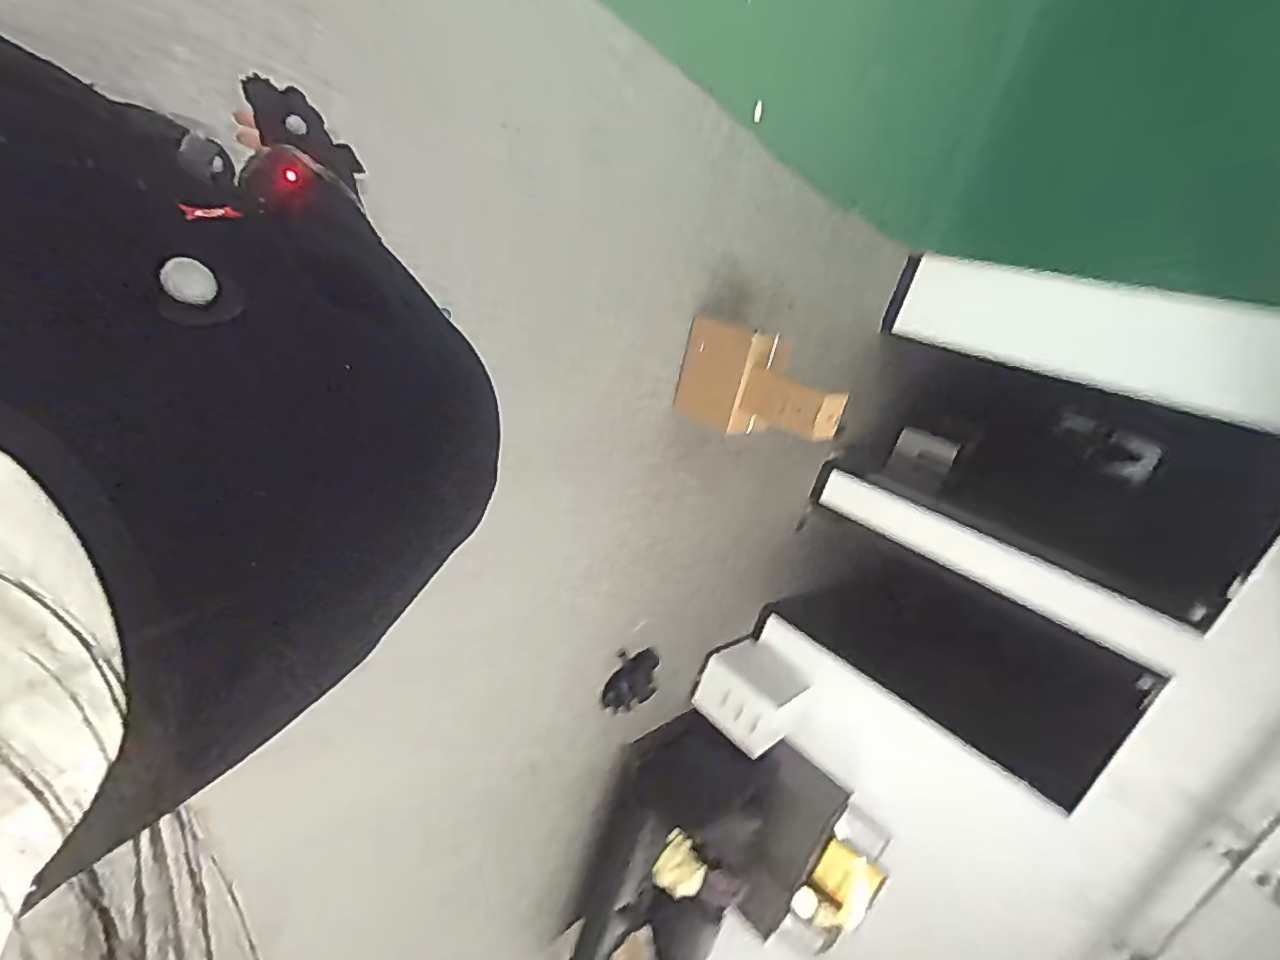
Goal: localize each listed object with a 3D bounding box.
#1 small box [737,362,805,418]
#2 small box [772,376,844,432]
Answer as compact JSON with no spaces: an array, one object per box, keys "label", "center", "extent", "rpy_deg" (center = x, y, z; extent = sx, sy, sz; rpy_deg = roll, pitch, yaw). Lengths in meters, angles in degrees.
[{"label":"small box","center":[0.507,-0.355,2.112],"extent":[0.168,0.176,0.179],"rpy_deg":[-9,123,-44]},{"label":"small box","center":[0.622,-0.285,2.019],"extent":[0.179,0.176,0.168],"rpy_deg":[-8,121,-44]}]
